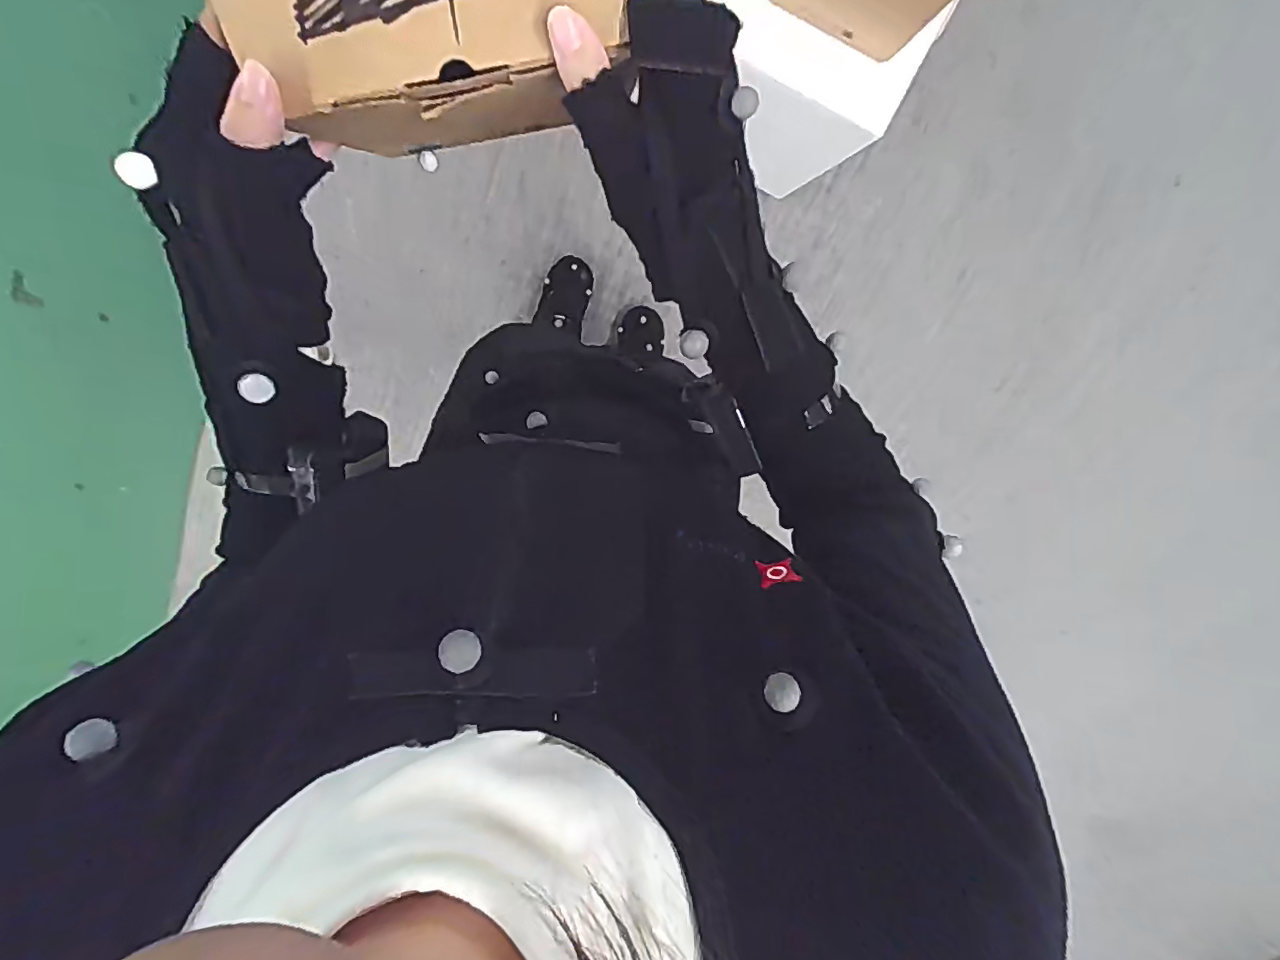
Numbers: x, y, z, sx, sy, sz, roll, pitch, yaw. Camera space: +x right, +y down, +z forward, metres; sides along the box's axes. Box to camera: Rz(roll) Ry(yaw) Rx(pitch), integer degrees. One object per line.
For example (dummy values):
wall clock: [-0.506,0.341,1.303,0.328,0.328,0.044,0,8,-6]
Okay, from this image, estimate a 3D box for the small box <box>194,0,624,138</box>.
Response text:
small box: [-0.104,-0.278,0.254,0.168,0.176,0.179,-12,116,0]

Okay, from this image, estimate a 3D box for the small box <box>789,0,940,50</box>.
small box: [0.250,-0.582,0.529,0.168,0.176,0.179,23,109,-7]
